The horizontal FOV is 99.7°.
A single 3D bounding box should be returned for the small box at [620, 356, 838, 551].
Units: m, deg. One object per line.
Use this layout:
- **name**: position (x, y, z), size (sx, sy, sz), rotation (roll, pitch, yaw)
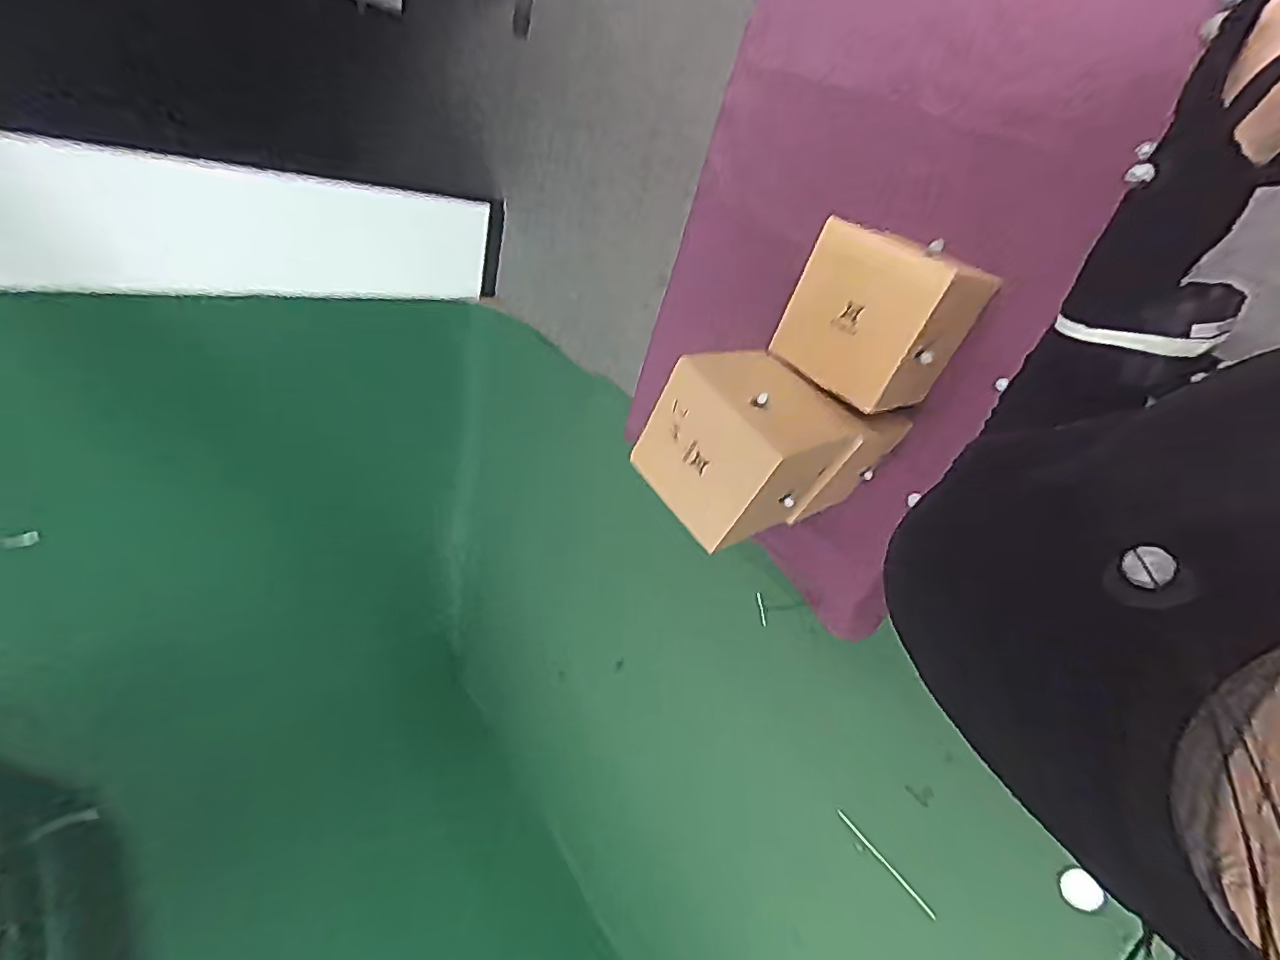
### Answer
- **small box**: position (0.112, -0.045, 0.682), size (0.179, 0.176, 0.168), rotation (50, 132, 24)
